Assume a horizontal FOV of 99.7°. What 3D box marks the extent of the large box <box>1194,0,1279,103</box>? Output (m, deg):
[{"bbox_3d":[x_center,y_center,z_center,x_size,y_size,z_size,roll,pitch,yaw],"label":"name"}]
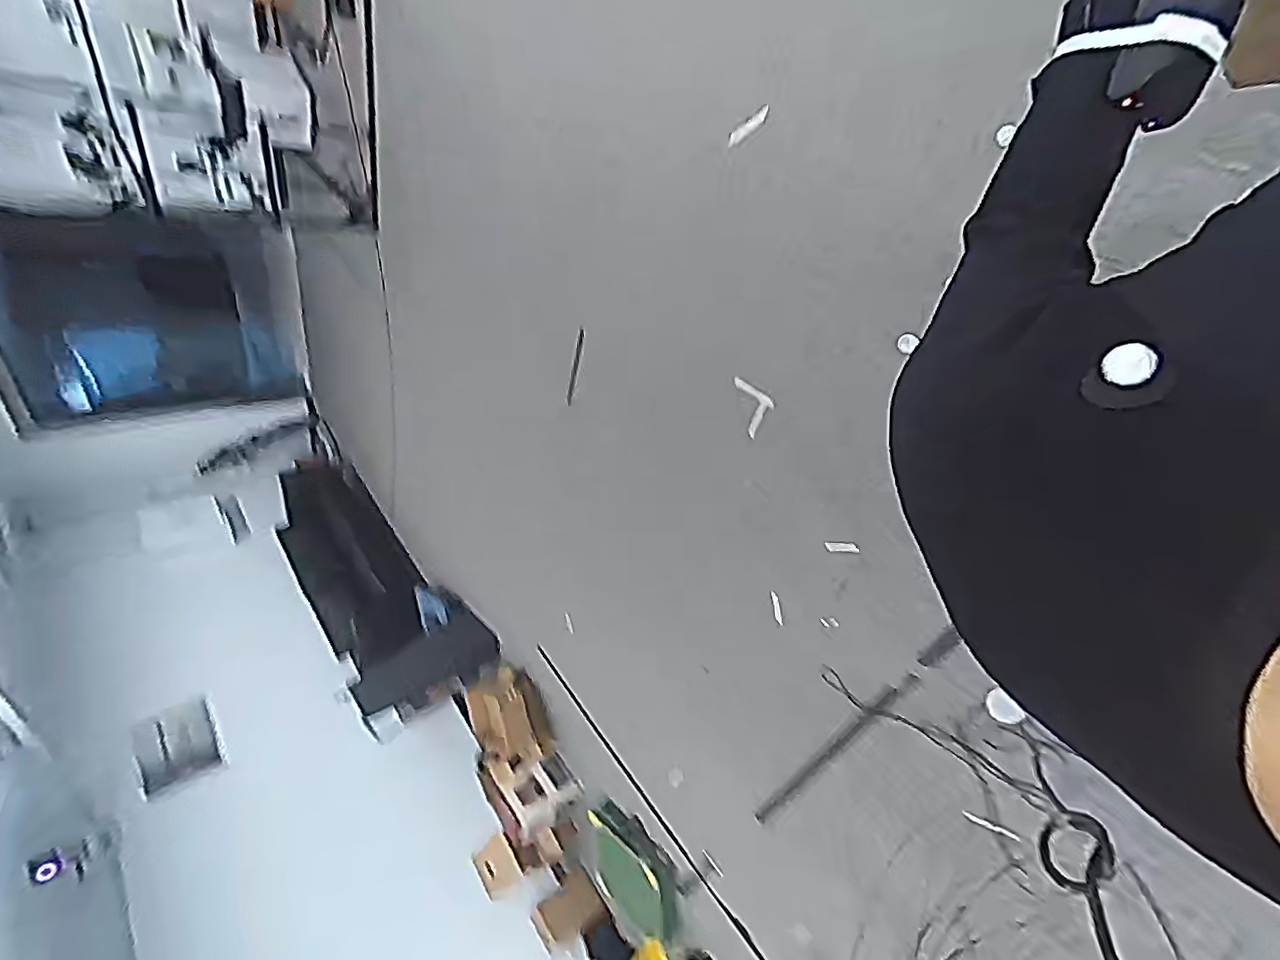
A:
[{"bbox_3d":[0.607,-0.435,0.265,0.408,0.320,0.320,22,121,43],"label":"large box"}]
